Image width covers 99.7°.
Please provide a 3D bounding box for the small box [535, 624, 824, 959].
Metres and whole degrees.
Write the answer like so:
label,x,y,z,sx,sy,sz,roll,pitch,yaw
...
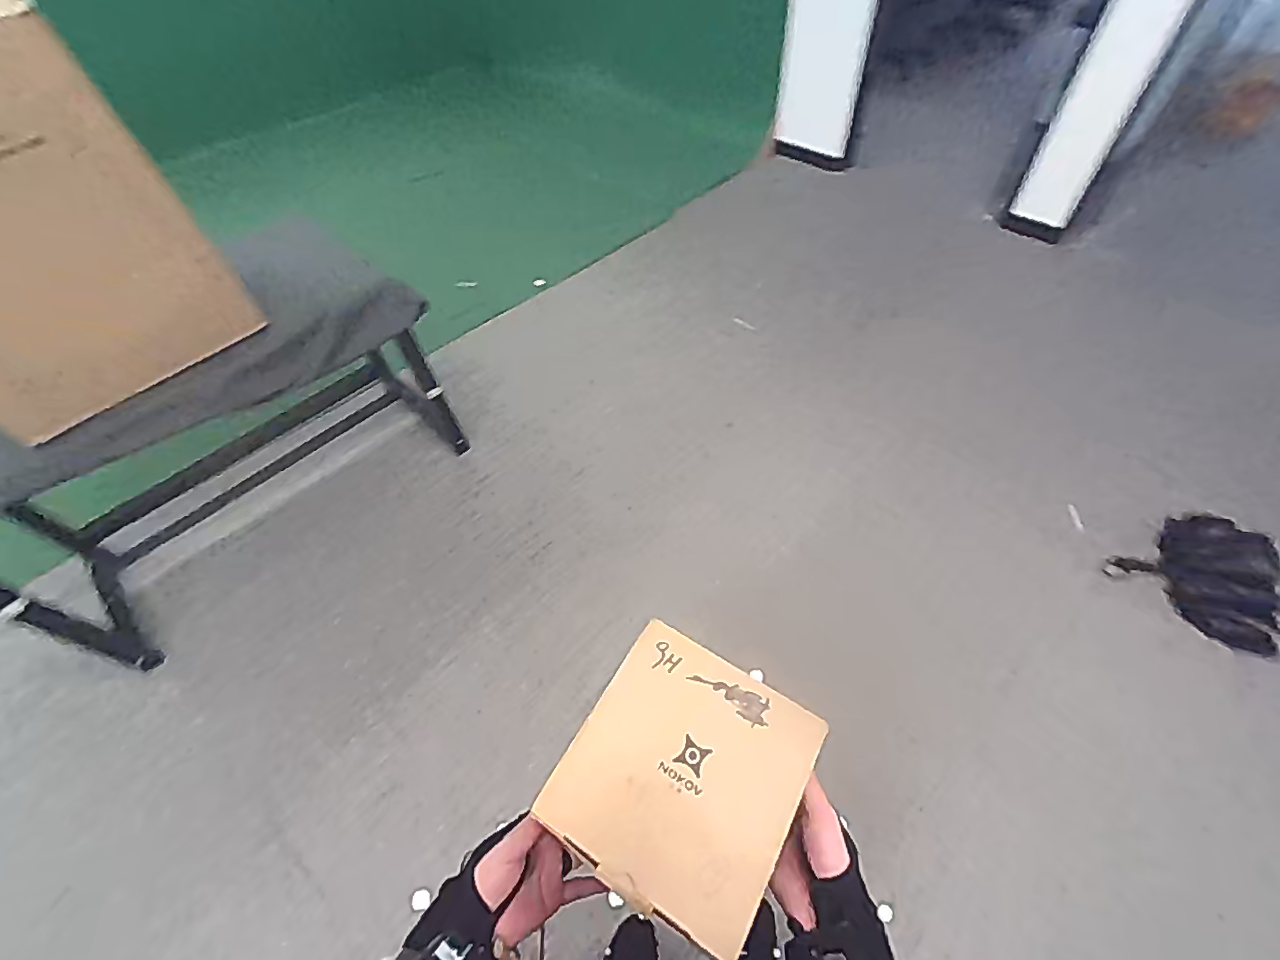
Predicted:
label,x,y,z,sx,sy,sz,roll,pitch,yaw
small box,0.035,0.266,0.477,0.168,0.176,0.179,27,59,16
